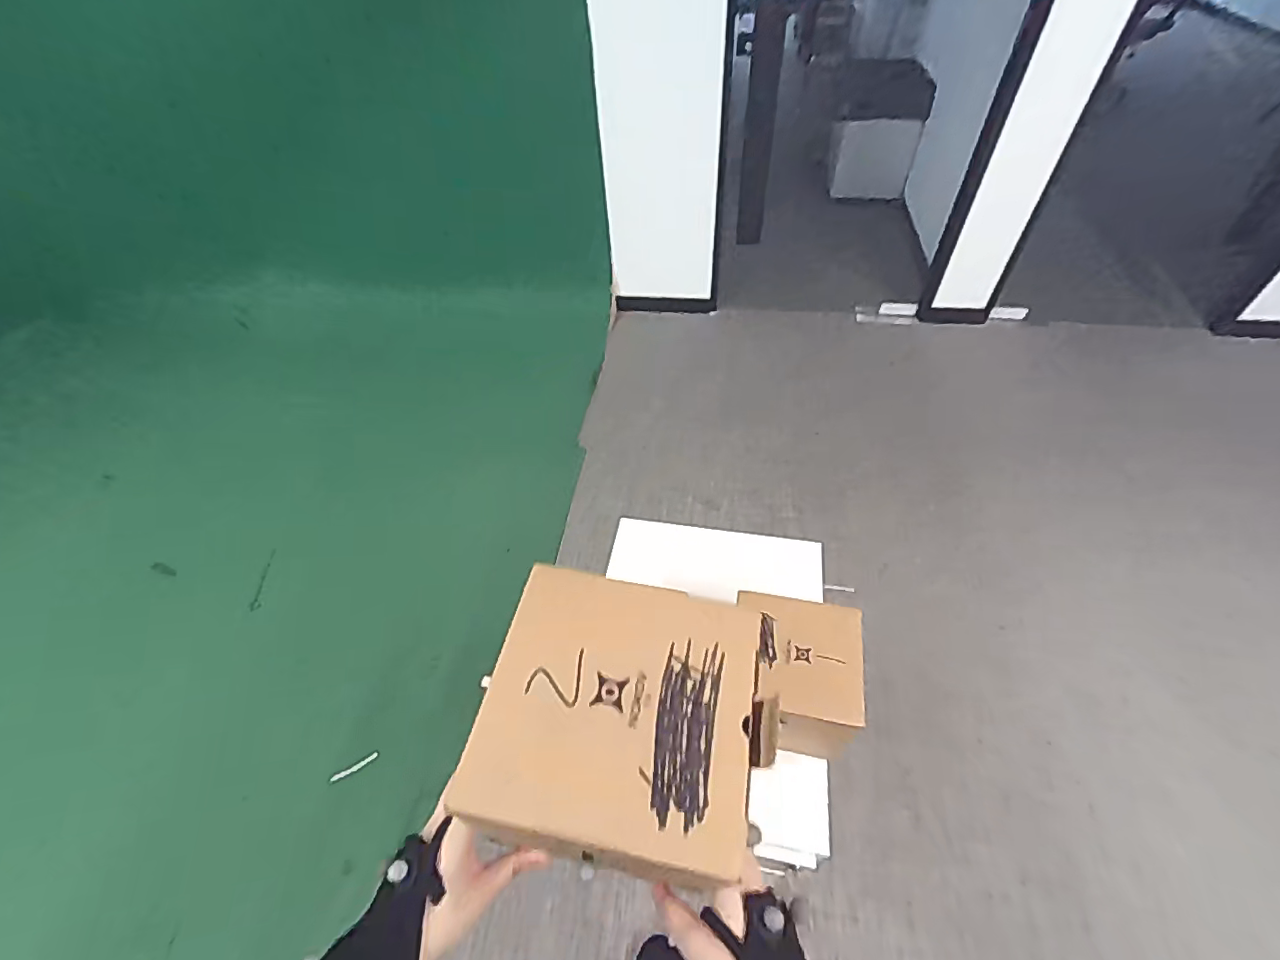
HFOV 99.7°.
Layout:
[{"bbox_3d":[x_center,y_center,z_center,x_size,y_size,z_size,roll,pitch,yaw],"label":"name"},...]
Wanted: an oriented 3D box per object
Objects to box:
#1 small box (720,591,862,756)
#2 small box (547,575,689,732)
[{"bbox_3d":[0.217,0.289,0.802,0.179,0.176,0.168,8,51,11],"label":"small box"},{"bbox_3d":[-0.024,0.270,0.832,0.179,0.176,0.168,8,51,9],"label":"small box"}]
